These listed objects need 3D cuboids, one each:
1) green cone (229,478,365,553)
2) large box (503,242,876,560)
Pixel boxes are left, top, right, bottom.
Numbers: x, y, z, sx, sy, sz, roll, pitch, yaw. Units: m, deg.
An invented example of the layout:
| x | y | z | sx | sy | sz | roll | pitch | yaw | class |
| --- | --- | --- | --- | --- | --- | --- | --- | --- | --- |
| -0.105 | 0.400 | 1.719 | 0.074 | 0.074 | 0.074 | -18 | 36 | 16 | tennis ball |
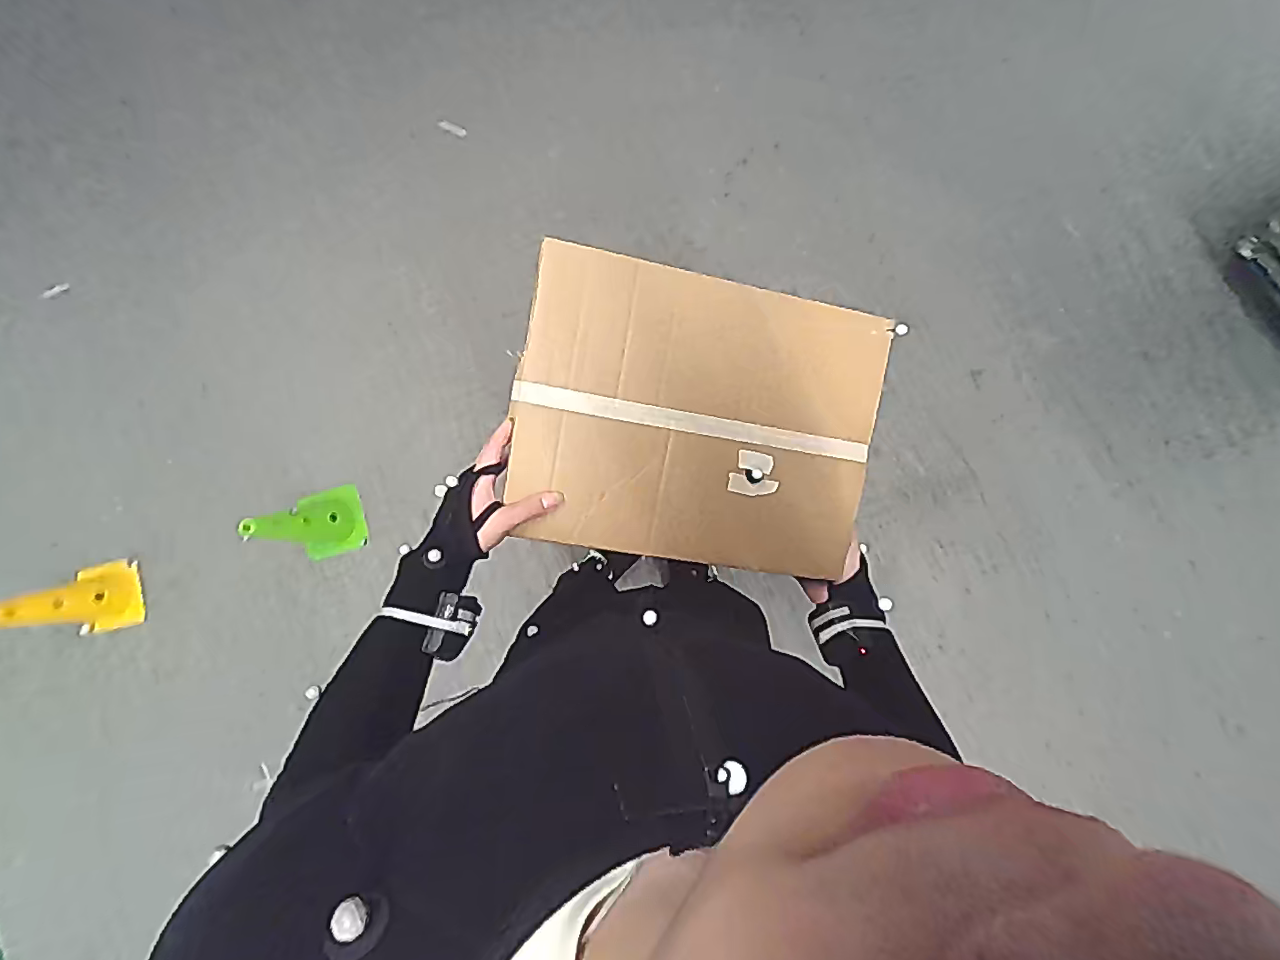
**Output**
| x | y | z | sx | sy | sz | roll | pitch | yaw | class |
| --- | --- | --- | --- | --- | --- | --- | --- | --- | --- |
| -0.976 | 0.103 | 1.508 | 0.202 | 0.368 | 0.200 | -17 | 87 | 3 | green cone |
| 0.036 | -0.091 | 0.752 | 0.408 | 0.320 | 0.320 | 8 | 96 | -11 | large box |
